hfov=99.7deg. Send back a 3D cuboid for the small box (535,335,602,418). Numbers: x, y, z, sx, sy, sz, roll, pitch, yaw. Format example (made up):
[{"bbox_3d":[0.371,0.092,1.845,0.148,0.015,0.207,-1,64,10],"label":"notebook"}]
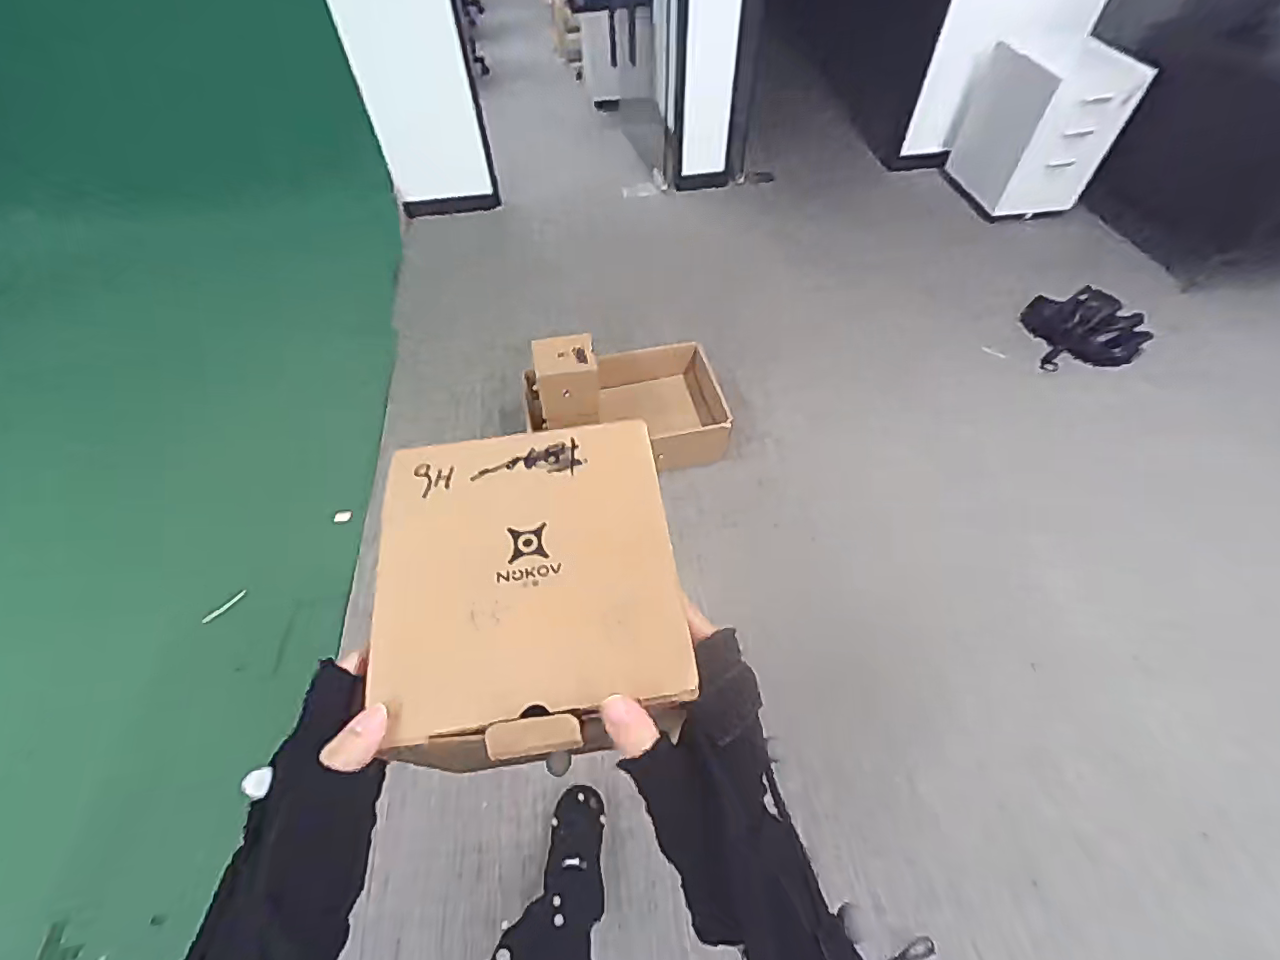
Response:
[{"bbox_3d":[-0.211,-0.307,1.619,0.179,0.176,0.168,-10,53,-6],"label":"small box"}]

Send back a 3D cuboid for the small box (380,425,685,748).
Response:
[{"bbox_3d":[-0.064,0.087,0.391,0.168,0.176,0.179,-8,60,-4],"label":"small box"}]
